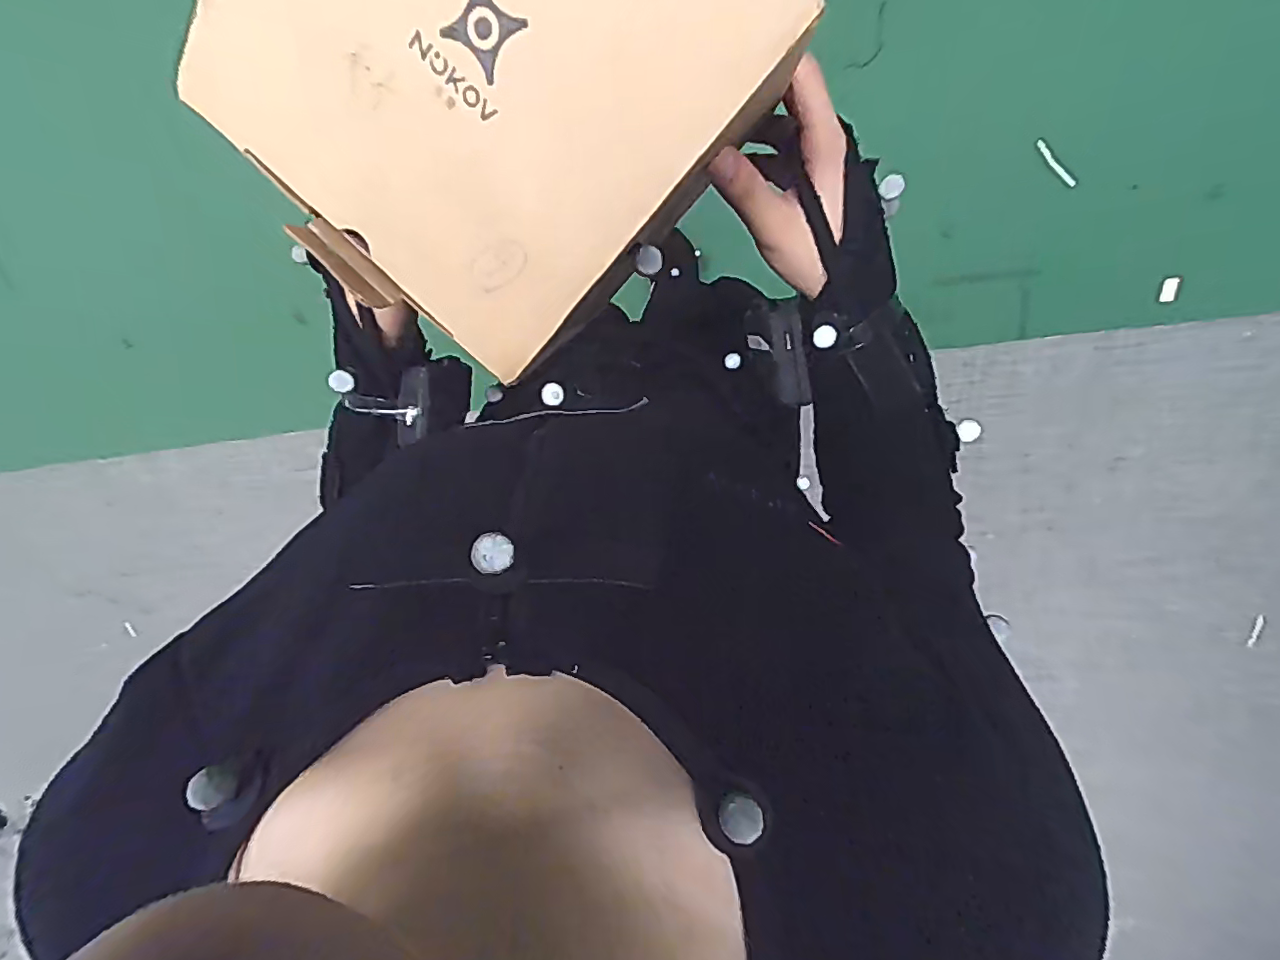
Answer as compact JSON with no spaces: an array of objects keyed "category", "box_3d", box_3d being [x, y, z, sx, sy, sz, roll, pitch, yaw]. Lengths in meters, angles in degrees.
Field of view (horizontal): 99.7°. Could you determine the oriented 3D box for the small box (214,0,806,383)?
[{"category":"small box","box_3d":[-0.045,-0.182,0.268,0.168,0.176,0.179,42,115,-12]}]
